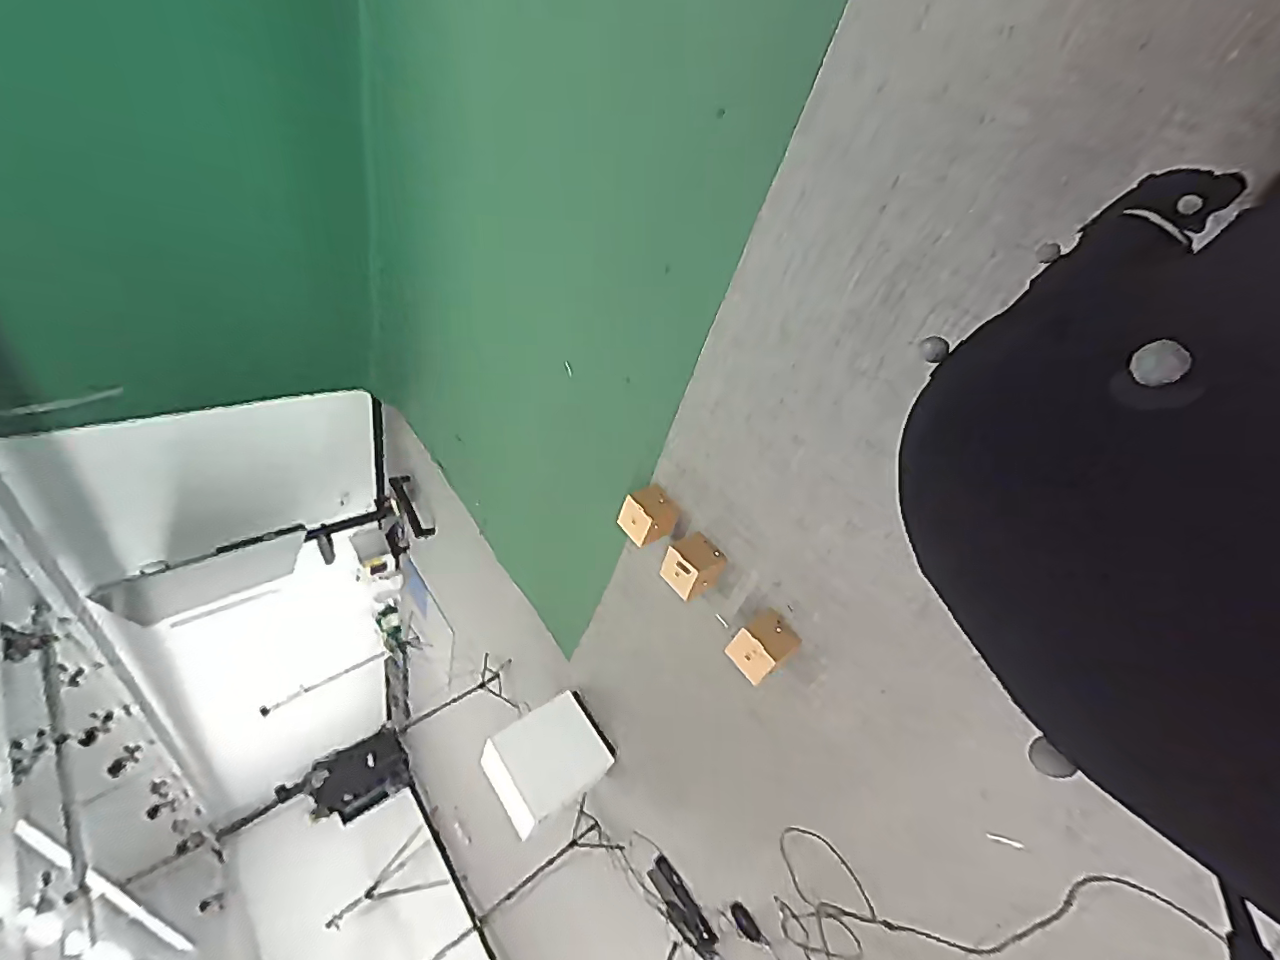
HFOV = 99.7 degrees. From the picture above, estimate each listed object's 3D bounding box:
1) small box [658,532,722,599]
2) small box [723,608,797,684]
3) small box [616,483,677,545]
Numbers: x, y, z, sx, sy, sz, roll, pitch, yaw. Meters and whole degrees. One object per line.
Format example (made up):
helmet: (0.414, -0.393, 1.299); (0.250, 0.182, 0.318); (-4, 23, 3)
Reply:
small box: (0.205, 0.337, 2.161); (0.168, 0.176, 0.179); (44, 134, 31)
small box: (0.444, 0.605, 1.981); (0.168, 0.176, 0.179); (47, 134, 26)
small box: (0.029, 0.142, 2.292); (0.168, 0.176, 0.179); (46, 135, 27)
